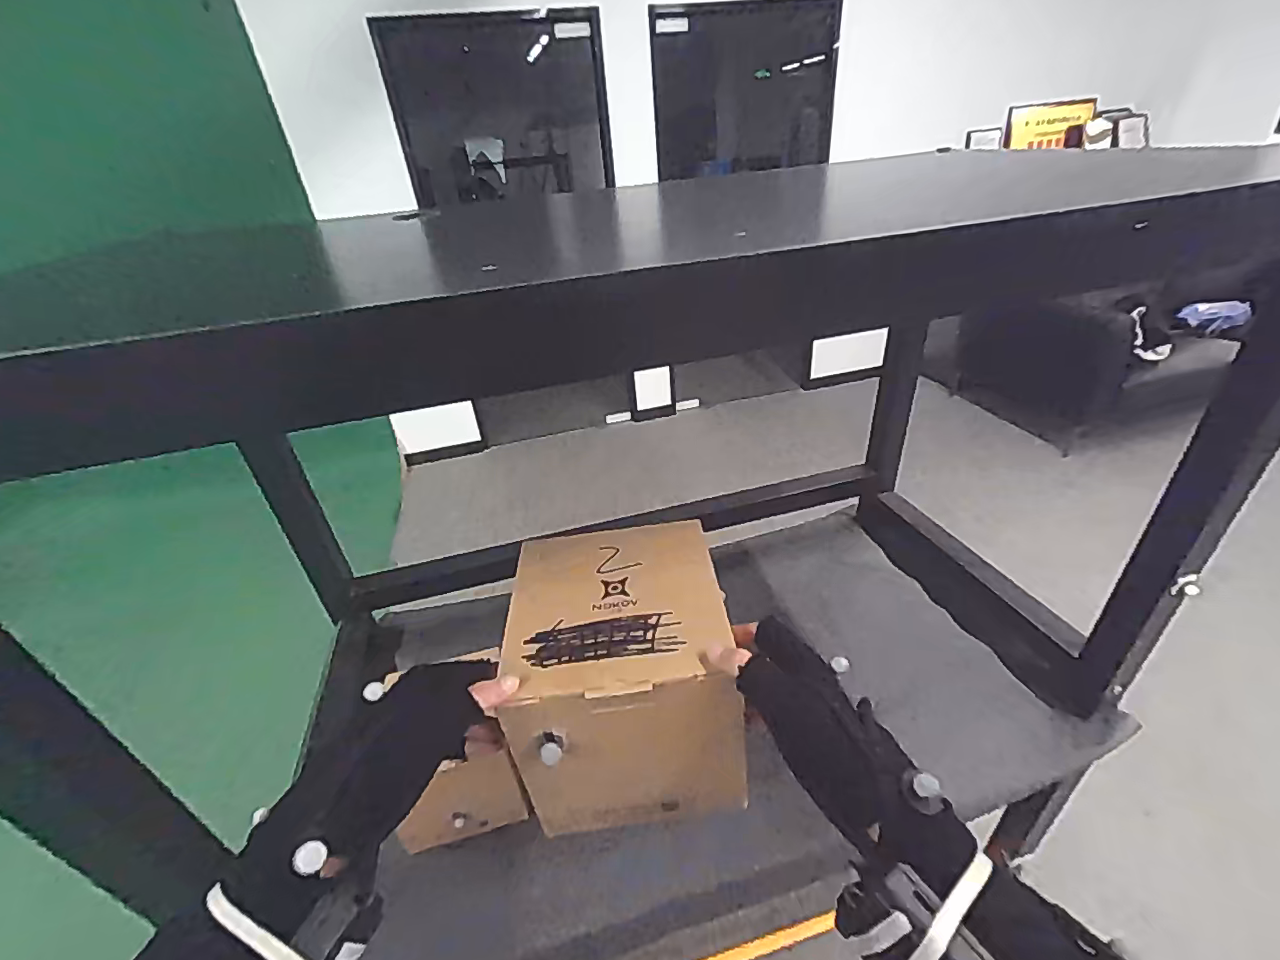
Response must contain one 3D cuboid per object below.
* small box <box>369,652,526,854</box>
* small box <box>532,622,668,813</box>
[{"bbox_3d":[-0.263,0.384,0.774,0.168,0.176,0.179,-12,32,-10],"label":"small box"},{"bbox_3d":[-0.061,0.349,0.807,0.168,0.176,0.179,-12,32,-10],"label":"small box"}]
